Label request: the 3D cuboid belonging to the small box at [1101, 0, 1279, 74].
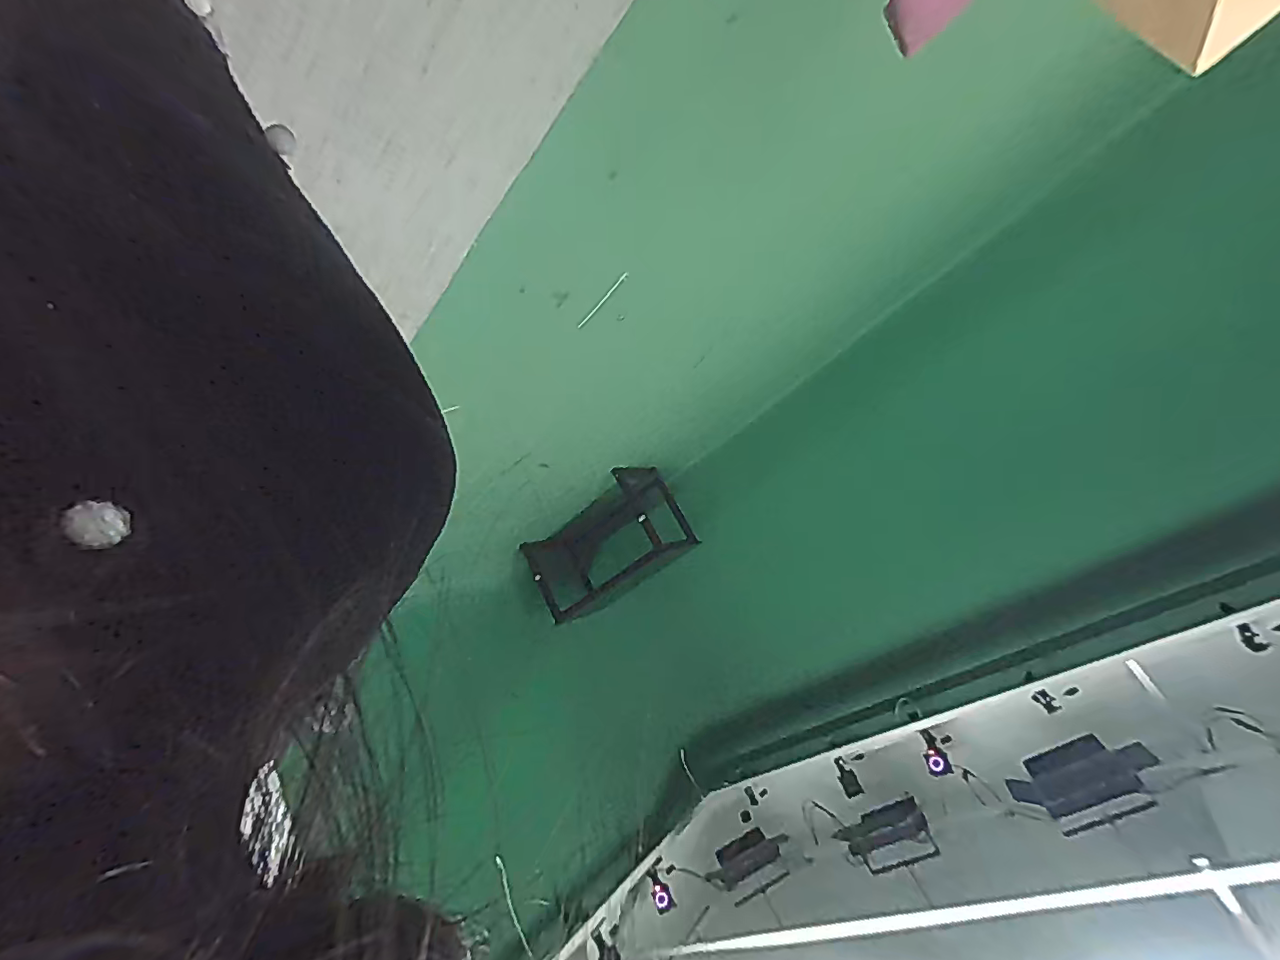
[{"bbox_3d":[0.588,-0.563,0.520,0.179,0.176,0.168,-41,158,32],"label":"small box"}]
